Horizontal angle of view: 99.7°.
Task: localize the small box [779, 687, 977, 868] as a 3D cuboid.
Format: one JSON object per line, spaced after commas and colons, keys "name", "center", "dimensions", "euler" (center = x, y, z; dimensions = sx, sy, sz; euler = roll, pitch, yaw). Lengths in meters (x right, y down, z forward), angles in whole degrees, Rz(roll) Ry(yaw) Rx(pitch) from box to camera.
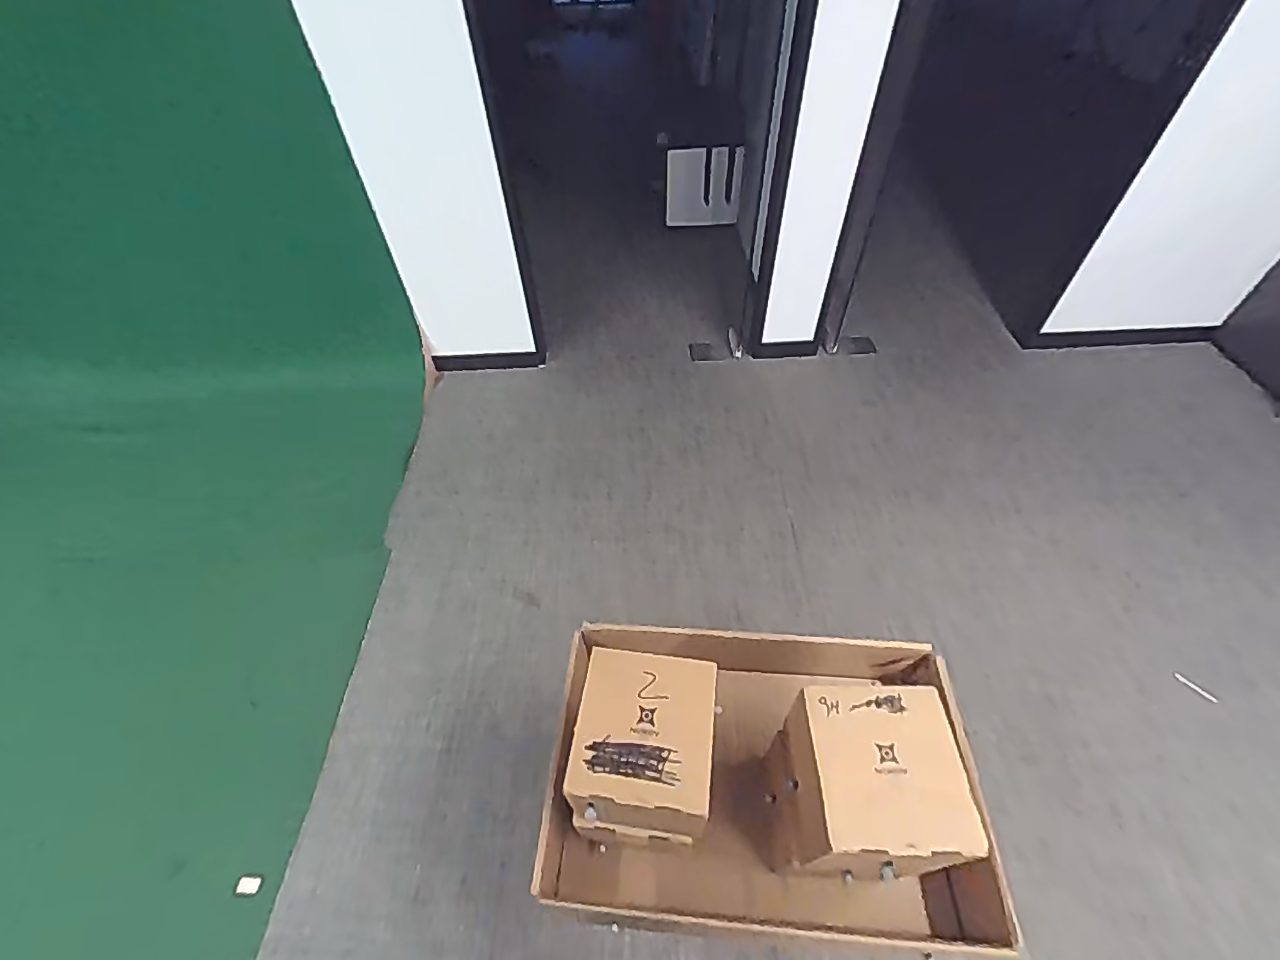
{"name": "small box", "center": [0.280, 0.378, 0.683], "dimensions": [0.168, 0.176, 0.179], "euler": [1, 51, 2]}
